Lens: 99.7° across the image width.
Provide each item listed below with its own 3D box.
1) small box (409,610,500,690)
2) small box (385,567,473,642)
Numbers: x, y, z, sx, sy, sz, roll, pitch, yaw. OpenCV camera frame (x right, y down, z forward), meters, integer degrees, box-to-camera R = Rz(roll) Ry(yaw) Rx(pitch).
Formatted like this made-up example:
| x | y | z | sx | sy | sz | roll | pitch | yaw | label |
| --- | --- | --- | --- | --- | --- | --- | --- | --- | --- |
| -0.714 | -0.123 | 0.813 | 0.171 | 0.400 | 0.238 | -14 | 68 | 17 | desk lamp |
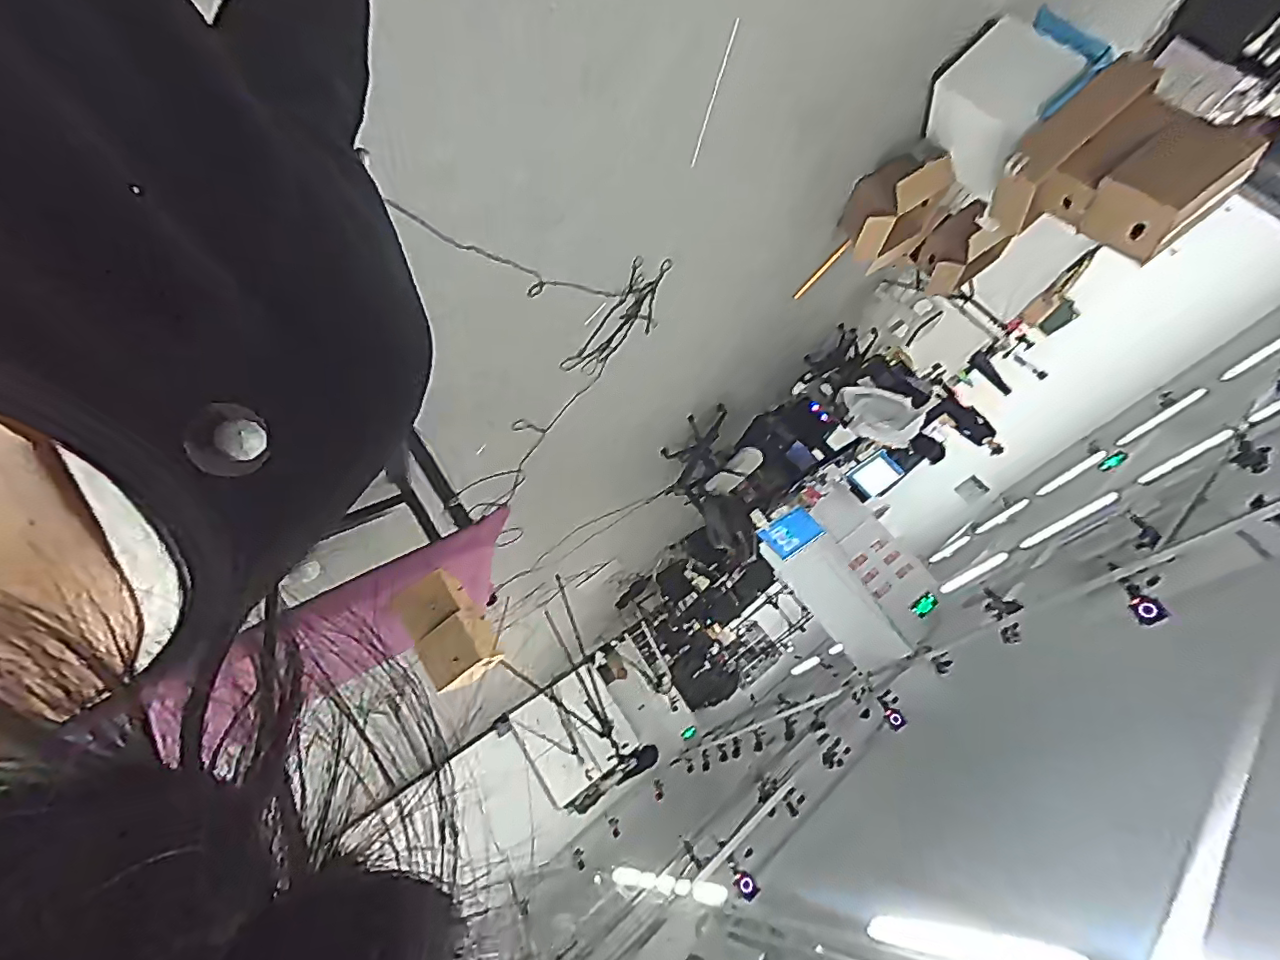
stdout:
| x | y | z | sx | sy | sz | roll | pitch | yaw | label |
| --- | --- | --- | --- | --- | --- | --- | --- | --- | --- |
| -0.574 | 0.517 | 1.673 | 0.179 | 0.176 | 0.168 | -37 | 162 | 3 | small box |
| -0.676 | 0.403 | 1.735 | 0.179 | 0.176 | 0.168 | -35 | 162 | -9 | small box |
